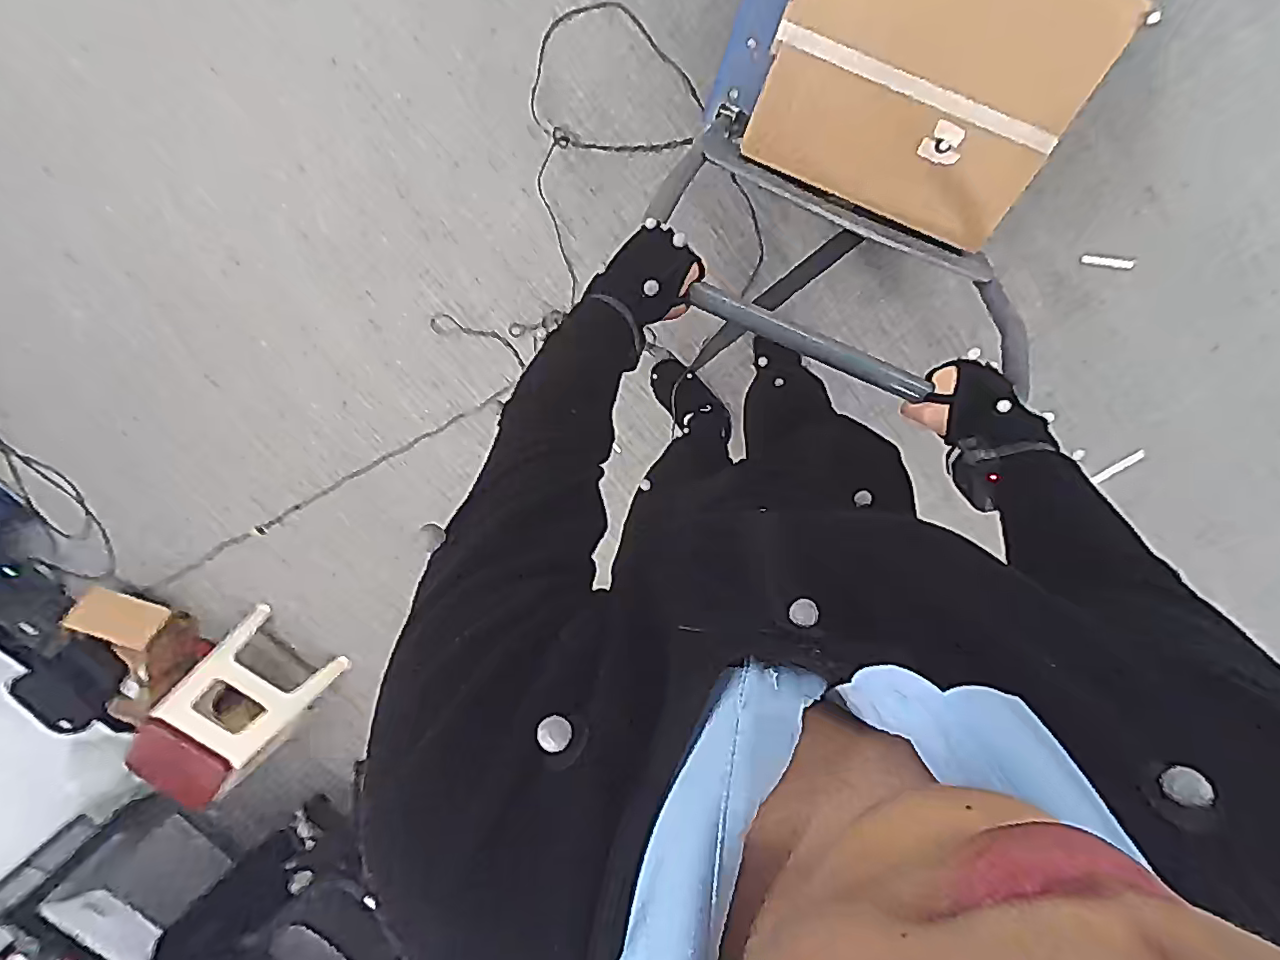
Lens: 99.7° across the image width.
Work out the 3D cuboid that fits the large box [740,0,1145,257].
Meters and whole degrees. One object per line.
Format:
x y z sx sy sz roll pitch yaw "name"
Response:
0.410 -0.613 0.853 0.408 0.320 0.320 22 131 -2 "large box"
